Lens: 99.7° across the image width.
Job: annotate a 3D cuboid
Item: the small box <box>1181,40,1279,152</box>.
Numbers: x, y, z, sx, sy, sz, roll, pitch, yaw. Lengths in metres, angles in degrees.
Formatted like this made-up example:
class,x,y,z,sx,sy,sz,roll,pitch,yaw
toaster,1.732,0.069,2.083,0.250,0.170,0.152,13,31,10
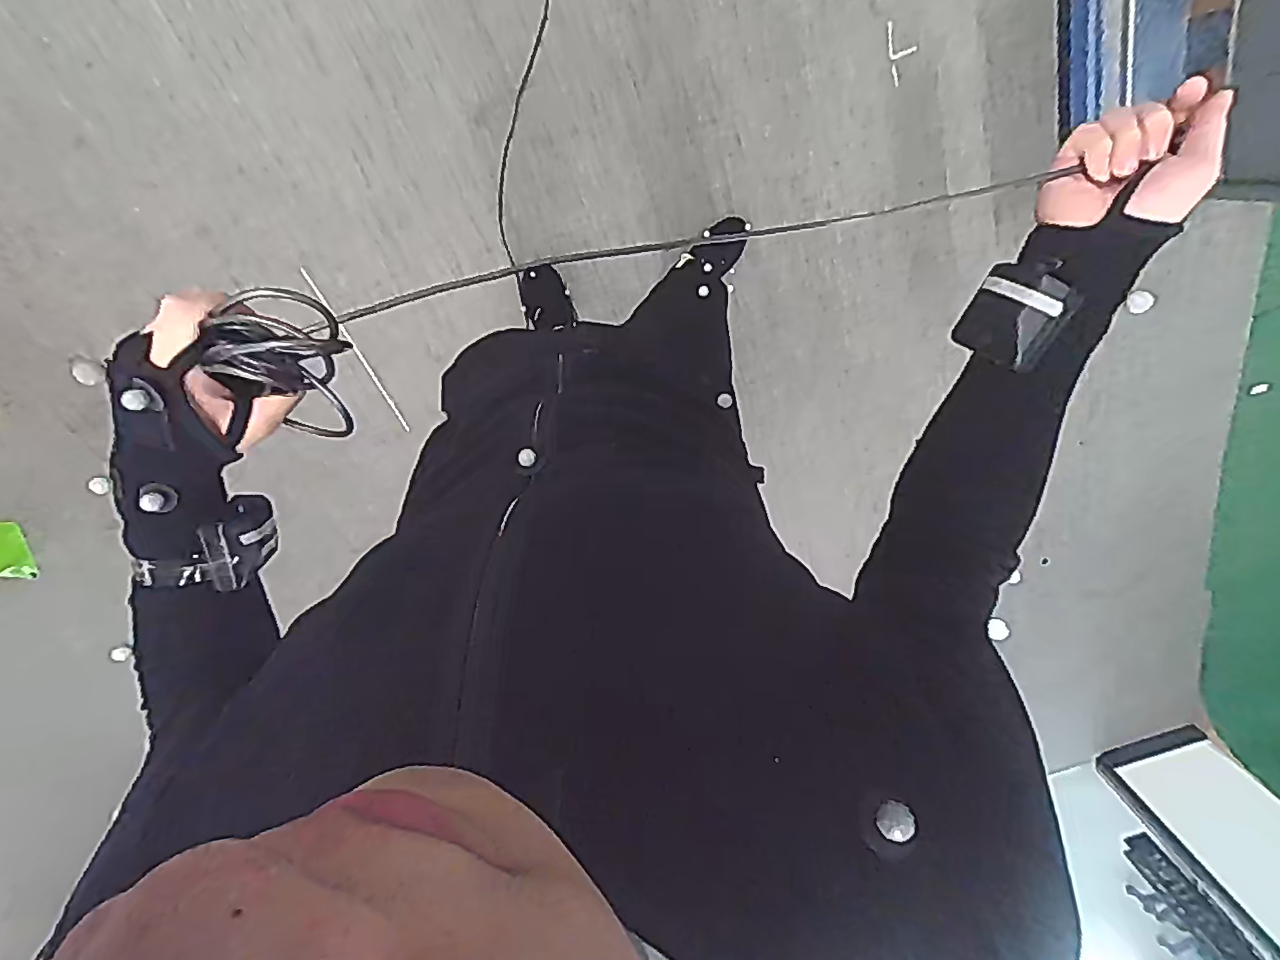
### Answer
class,x,y,z,sx,sy,sz,roll,pitch,yaw
small box,1.327,-0.822,1.149,0.179,0.176,0.168,-20,118,6
